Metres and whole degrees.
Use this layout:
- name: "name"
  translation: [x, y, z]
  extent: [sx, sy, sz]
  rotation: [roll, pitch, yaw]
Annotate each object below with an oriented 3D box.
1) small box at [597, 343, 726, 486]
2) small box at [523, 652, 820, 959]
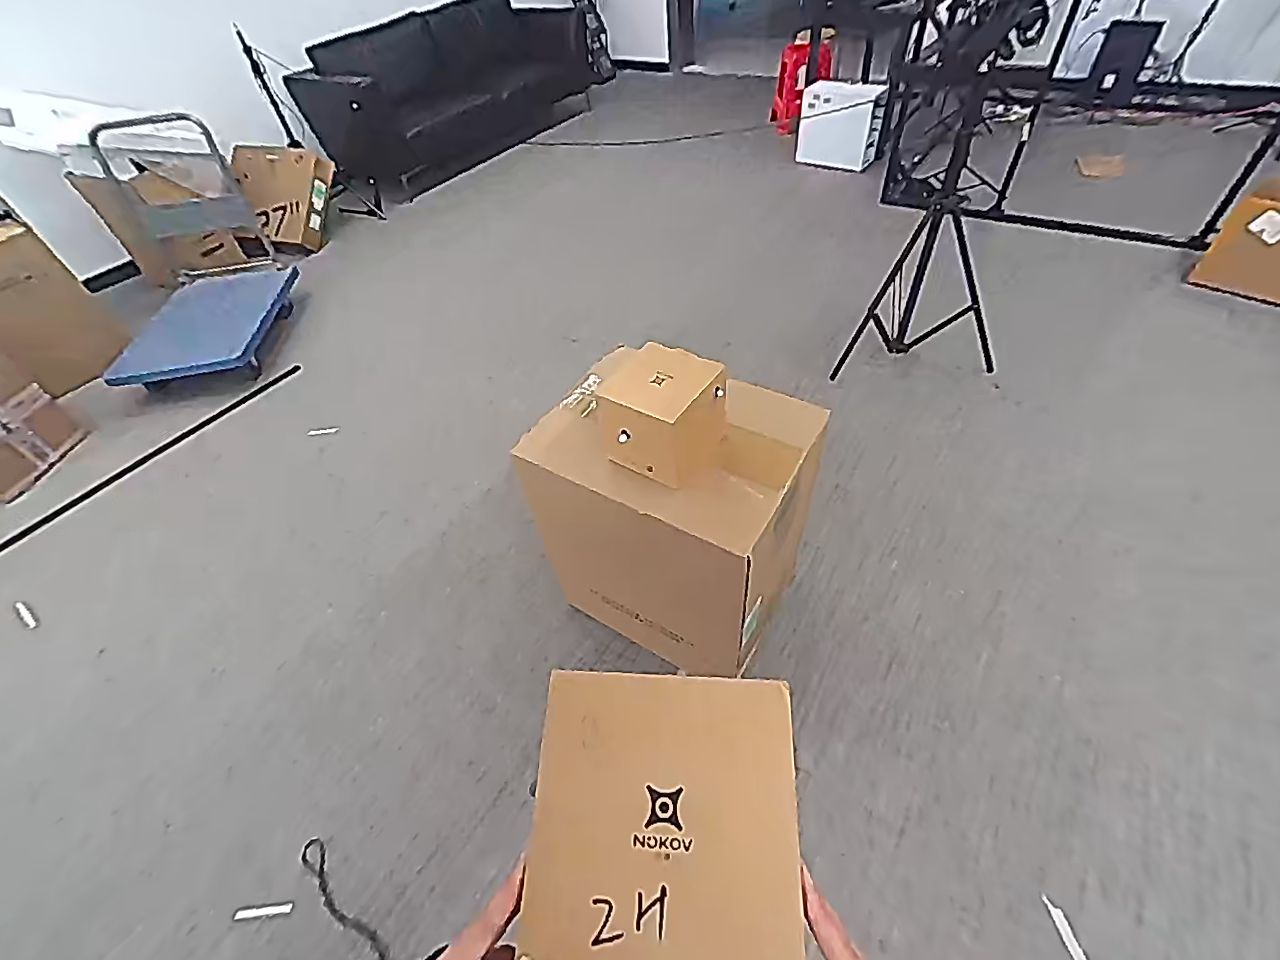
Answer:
- name: "small box"
  translation: [0.047, -0.118, 0.989]
  extent: [0.168, 0.176, 0.179]
  rotation: [24, 54, 26]
- name: "small box"
  translation: [0.029, 0.237, 0.400]
  extent: [0.168, 0.176, 0.179]
  rotation: [0, 62, 8]
